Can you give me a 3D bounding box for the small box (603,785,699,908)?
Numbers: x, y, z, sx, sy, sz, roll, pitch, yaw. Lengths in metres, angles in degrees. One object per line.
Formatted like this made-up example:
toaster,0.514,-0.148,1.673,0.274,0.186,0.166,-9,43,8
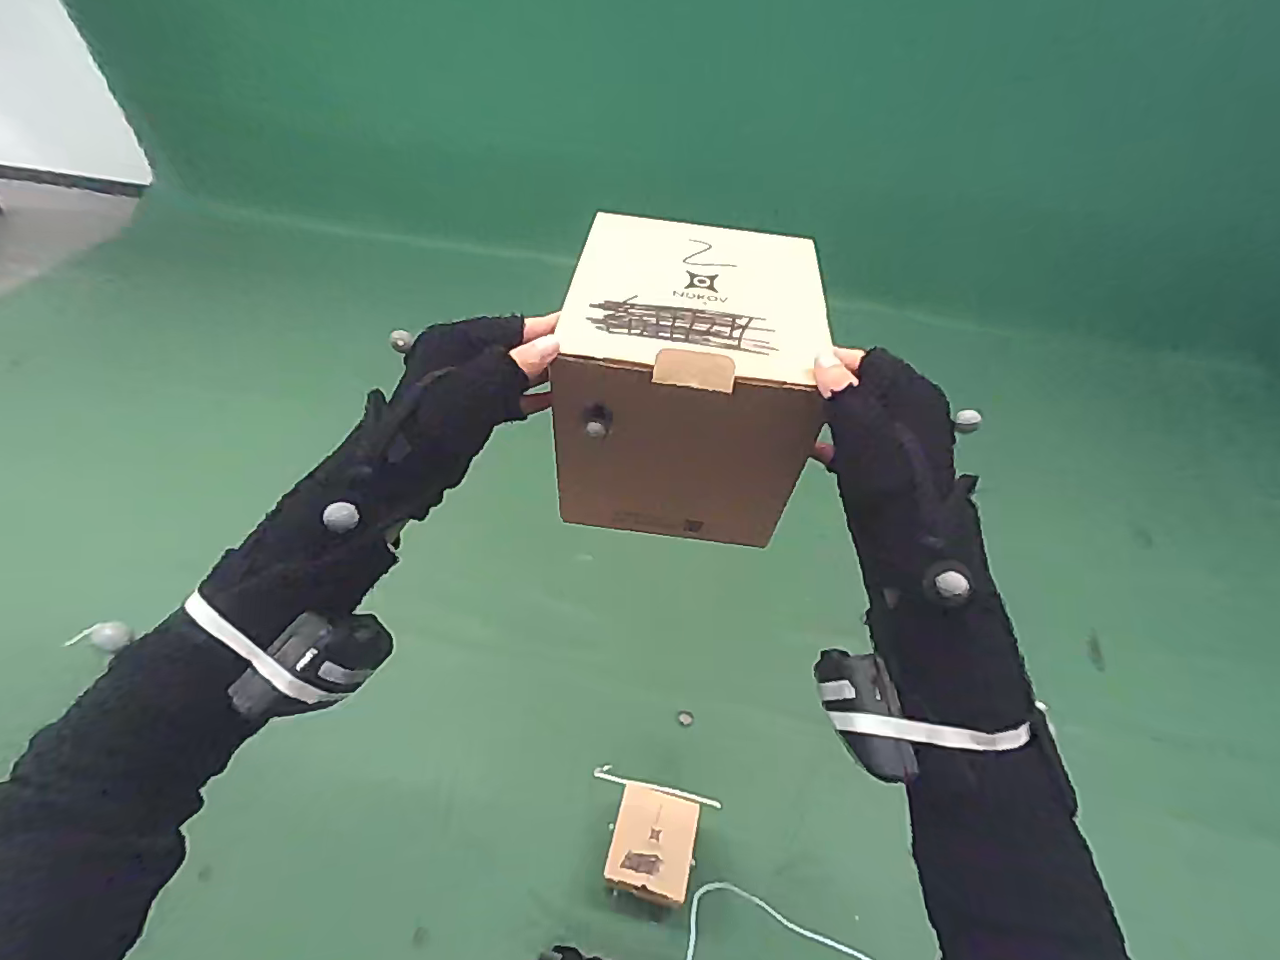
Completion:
small box,0.023,0.795,1.168,0.168,0.176,0.179,13,48,7
